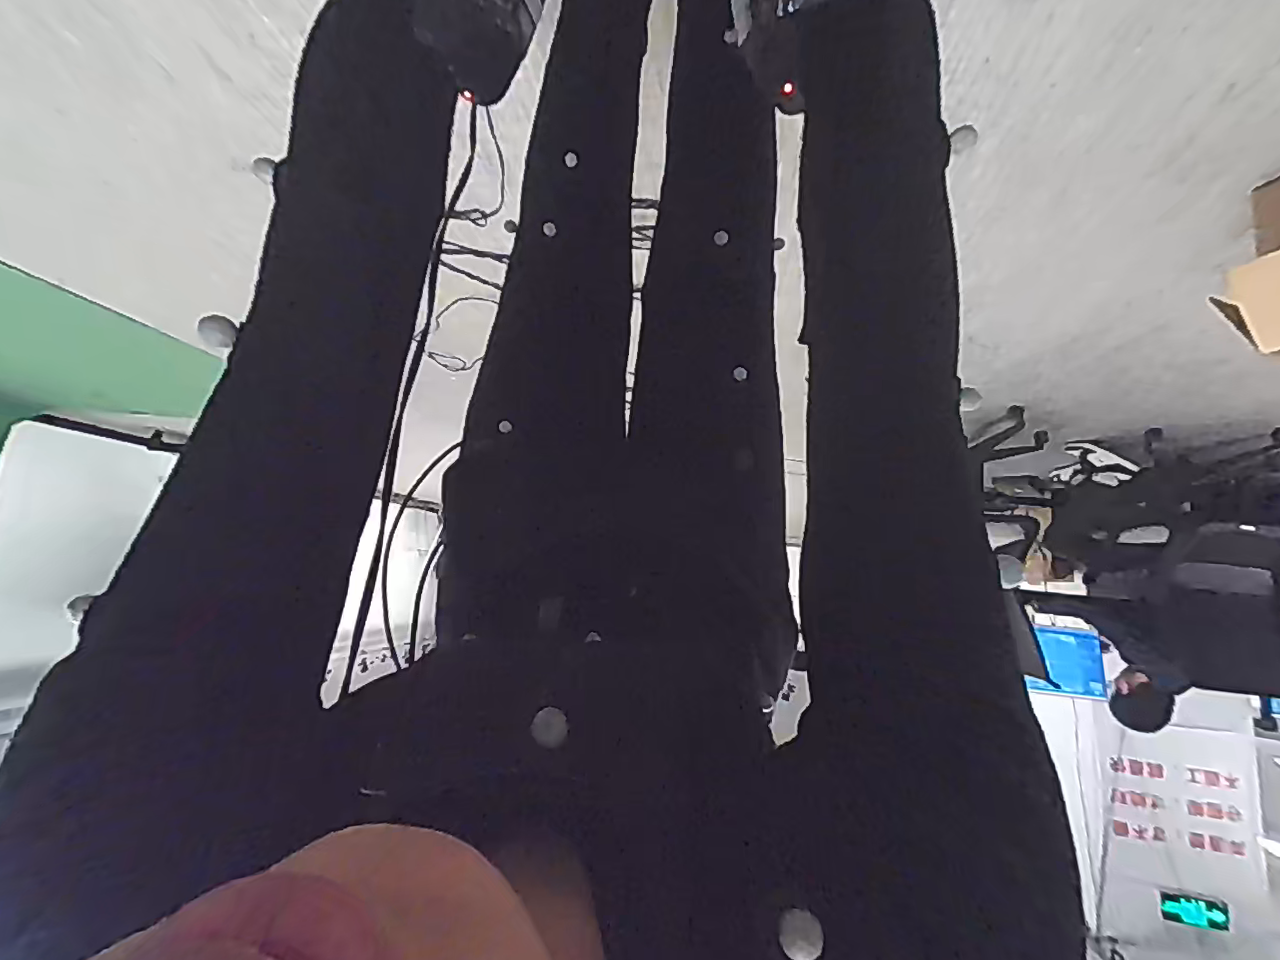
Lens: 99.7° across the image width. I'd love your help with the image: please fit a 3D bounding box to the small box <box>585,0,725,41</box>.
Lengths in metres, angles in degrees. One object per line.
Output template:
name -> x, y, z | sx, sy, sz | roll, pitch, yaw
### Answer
small box -> 0.015, -0.638, 0.594 | 0.168, 0.176, 0.179 | -4, 173, -1
